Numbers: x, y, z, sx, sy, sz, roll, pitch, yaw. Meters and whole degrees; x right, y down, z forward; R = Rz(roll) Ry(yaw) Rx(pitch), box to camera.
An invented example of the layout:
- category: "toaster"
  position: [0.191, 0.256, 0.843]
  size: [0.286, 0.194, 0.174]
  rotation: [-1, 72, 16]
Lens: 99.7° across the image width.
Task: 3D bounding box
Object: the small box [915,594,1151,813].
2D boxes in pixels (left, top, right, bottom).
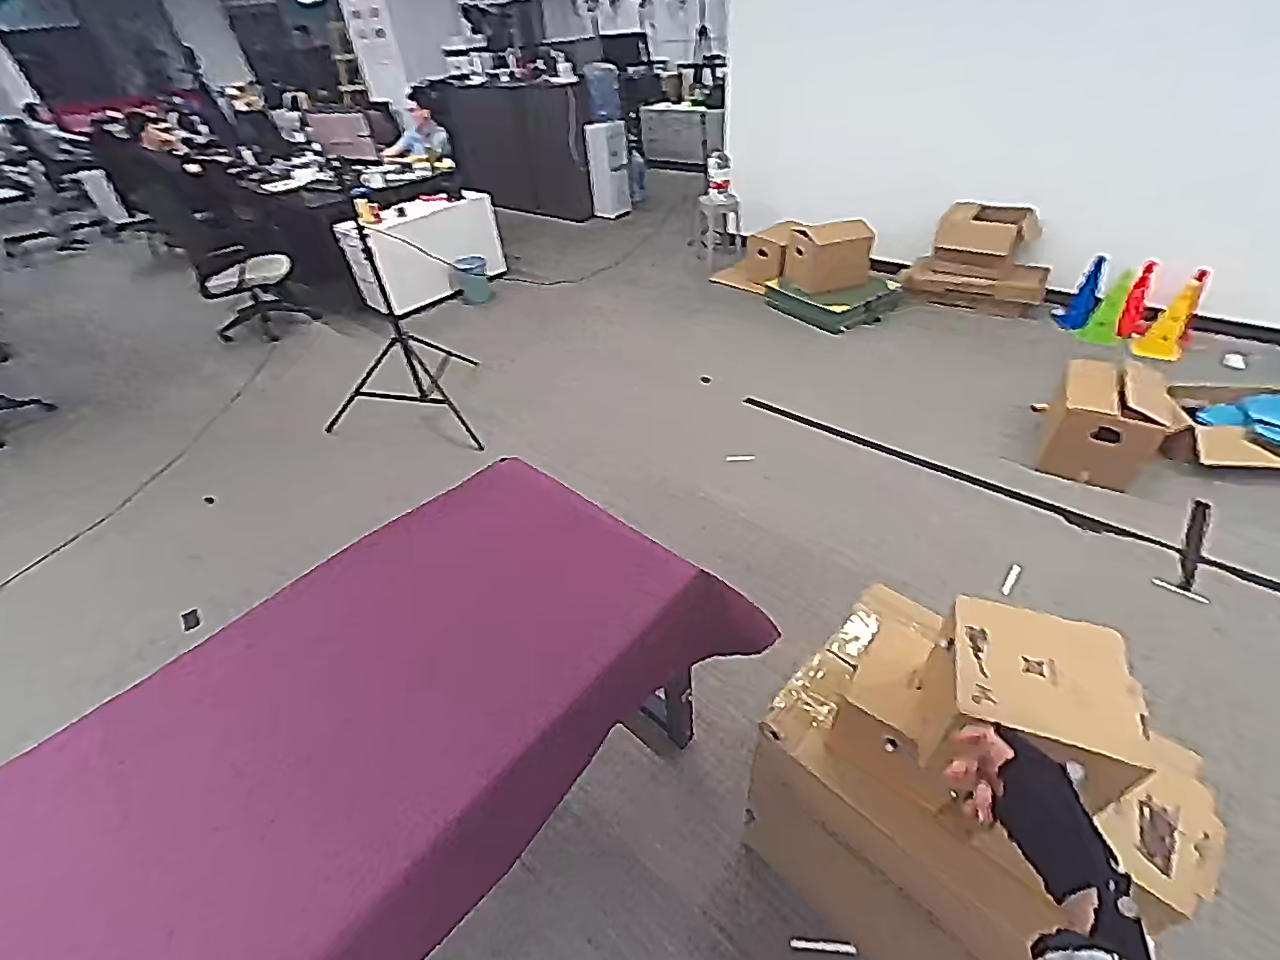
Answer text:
- category: "small box"
  position: [0.454, 0.272, 0.658]
  size: [0.179, 0.176, 0.168]
  rotation: [12, 44, 20]

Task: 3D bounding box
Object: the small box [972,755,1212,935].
- category: "small box"
  position: [0.570, 0.438, 0.700]
  size: [0.179, 0.176, 0.168]
  rotation: [27, 51, 36]

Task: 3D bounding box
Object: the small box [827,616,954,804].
- category: "small box"
  position: [0.405, 0.351, 0.825]
  size: [0.179, 0.176, 0.168]
  rotation: [25, 51, 30]
